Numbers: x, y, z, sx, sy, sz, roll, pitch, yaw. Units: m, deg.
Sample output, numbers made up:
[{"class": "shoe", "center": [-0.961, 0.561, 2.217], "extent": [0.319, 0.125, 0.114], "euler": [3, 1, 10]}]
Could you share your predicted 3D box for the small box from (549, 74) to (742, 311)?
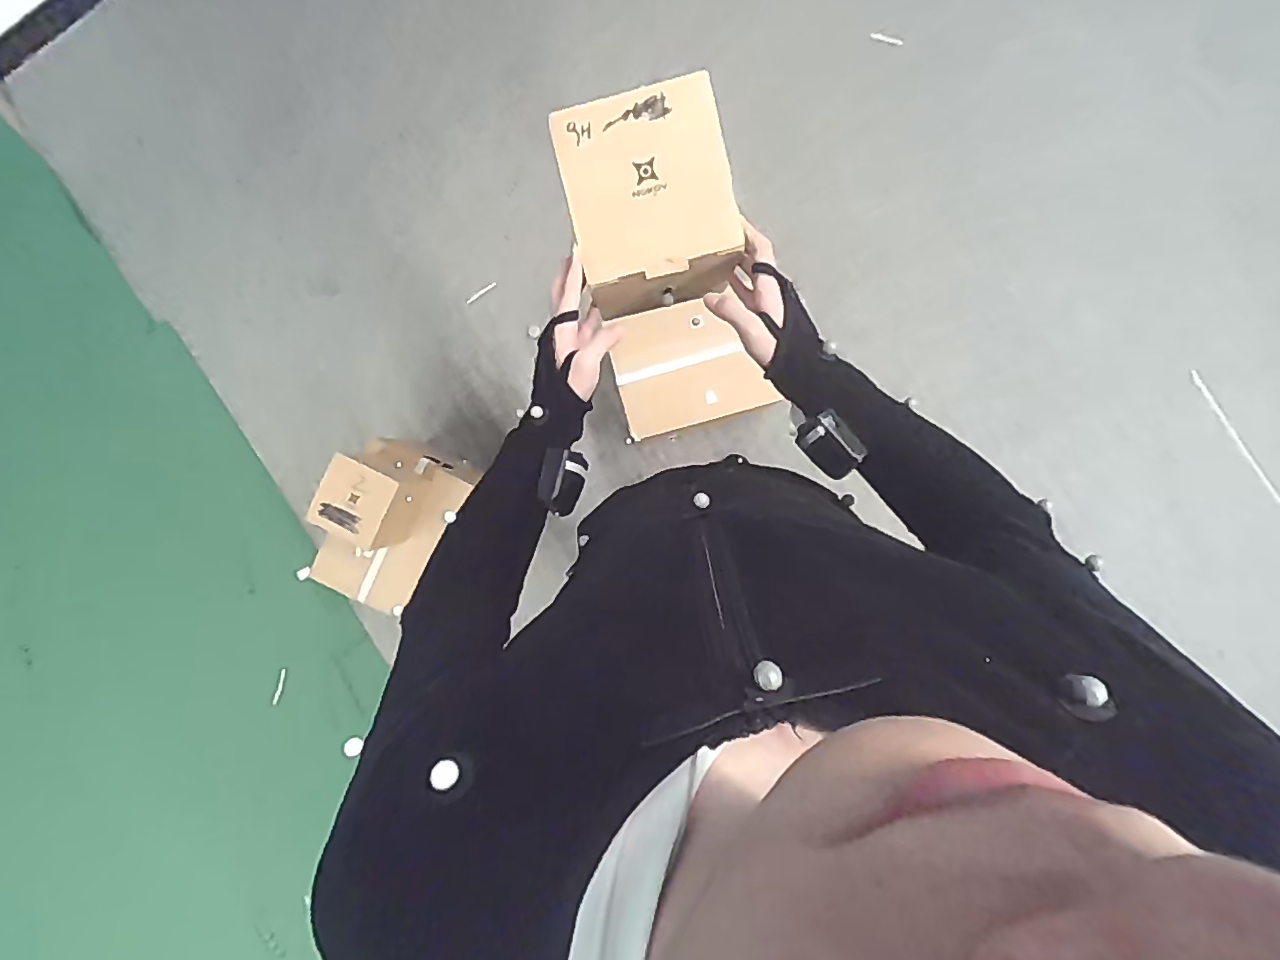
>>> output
[{"class": "small box", "center": [0.009, -0.303, 0.616], "extent": [0.168, 0.176, 0.179], "euler": [-13, 95, 2]}]

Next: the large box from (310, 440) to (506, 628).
[{"class": "large box", "center": [-0.626, 0.130, 1.522], "extent": [0.320, 0.320, 0.408], "euler": [25, 93, 2]}]
